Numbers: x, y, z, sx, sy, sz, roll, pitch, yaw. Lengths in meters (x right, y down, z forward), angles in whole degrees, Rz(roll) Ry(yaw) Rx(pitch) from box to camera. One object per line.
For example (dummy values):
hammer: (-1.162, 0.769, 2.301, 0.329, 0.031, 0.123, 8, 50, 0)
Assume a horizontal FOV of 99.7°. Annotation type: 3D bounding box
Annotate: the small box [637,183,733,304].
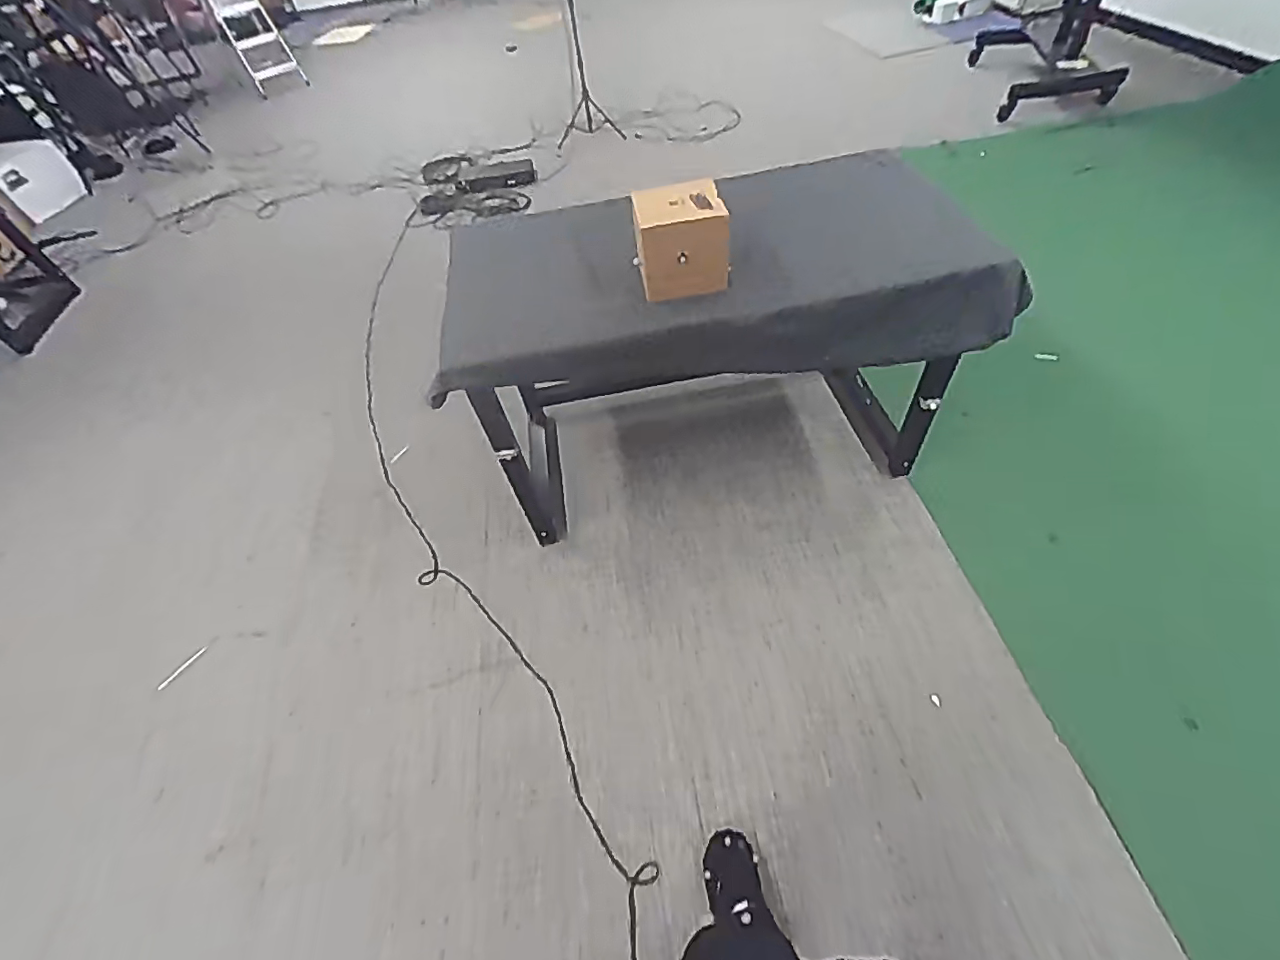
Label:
small box: (0.095, -0.501, 1.153, 0.179, 0.176, 0.168, -9, 51, 1)
